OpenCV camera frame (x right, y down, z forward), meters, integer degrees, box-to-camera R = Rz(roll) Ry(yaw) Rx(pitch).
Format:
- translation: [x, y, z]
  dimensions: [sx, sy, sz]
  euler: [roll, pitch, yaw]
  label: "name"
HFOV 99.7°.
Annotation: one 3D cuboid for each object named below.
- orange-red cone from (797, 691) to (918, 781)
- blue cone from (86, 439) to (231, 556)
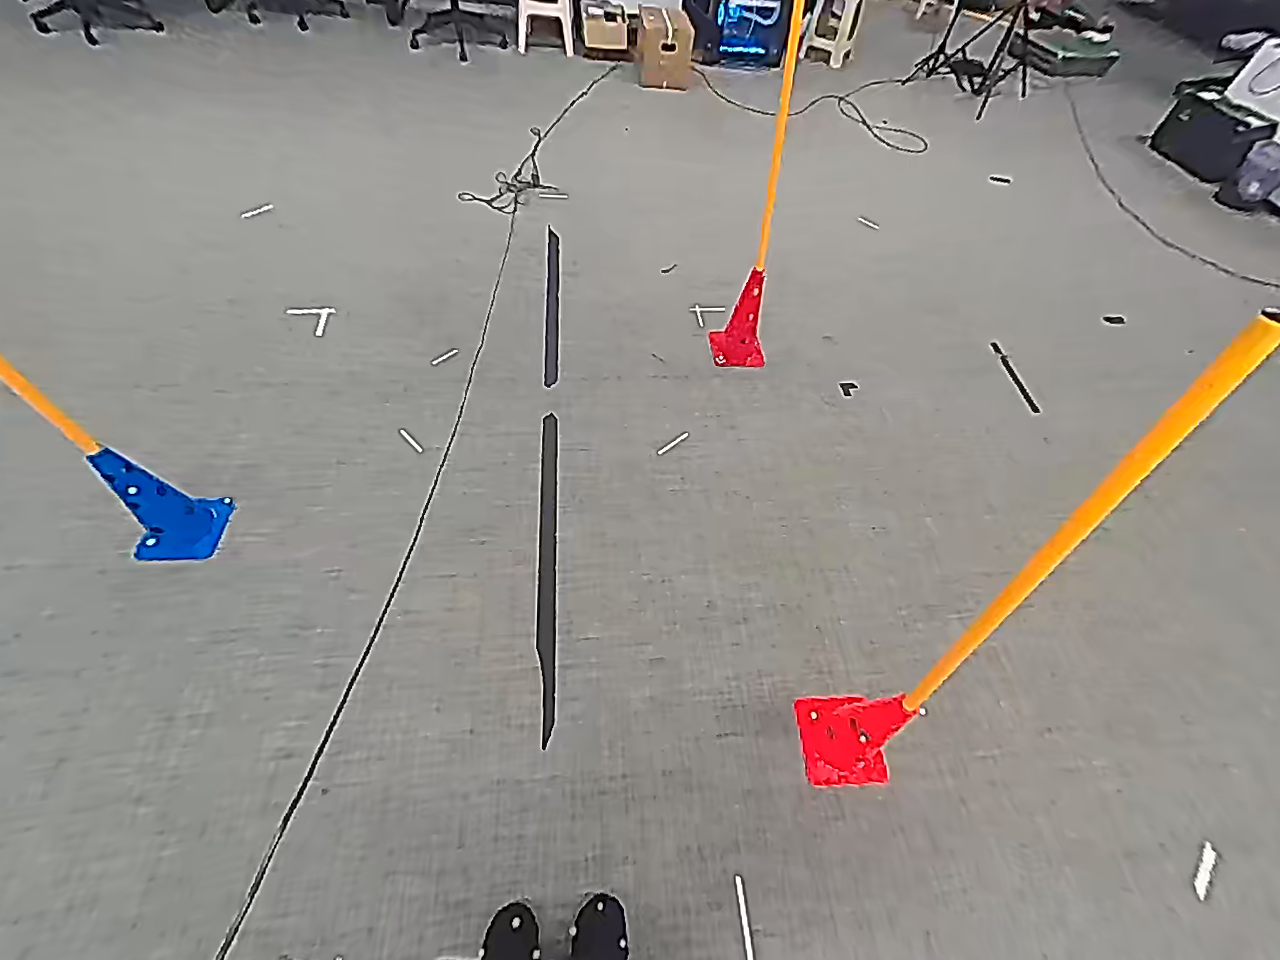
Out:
- translation: [0.505, 0.525, 1.180]
  dimensions: [0.198, 0.360, 0.199]
  euler: [1, 56, -5]
  label: "orange-red cone"
- translation: [-1.263, 0.034, 1.385]
  dimensions: [0.193, 0.380, 0.192]
  euler: [1, 54, -5]
  label: "blue cone"
